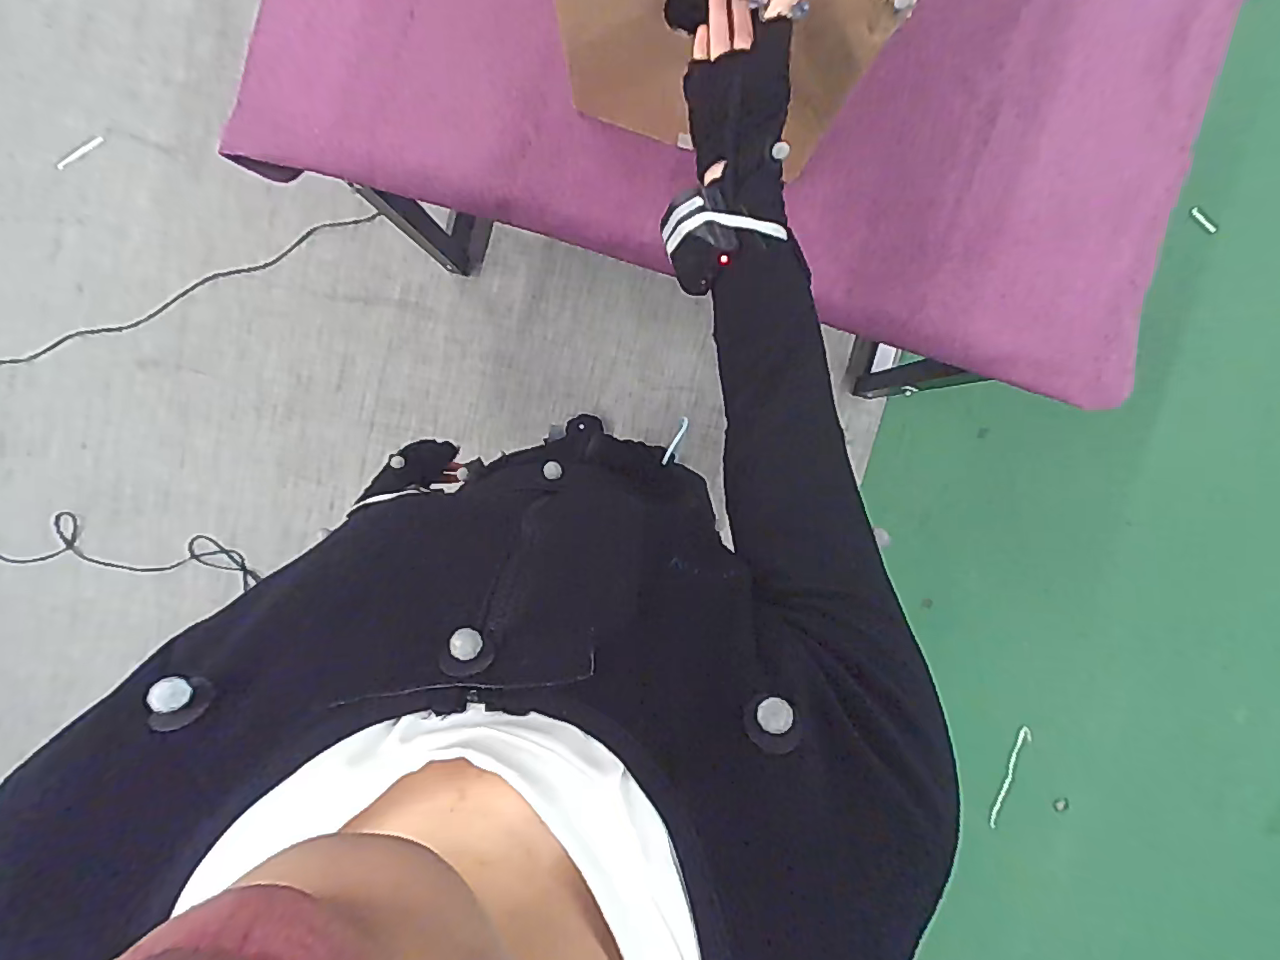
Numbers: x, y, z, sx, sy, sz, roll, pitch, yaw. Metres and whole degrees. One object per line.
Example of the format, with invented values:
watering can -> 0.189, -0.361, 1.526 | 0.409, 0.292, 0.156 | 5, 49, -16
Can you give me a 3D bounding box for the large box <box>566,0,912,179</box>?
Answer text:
large box -> 0.125, -0.624, 0.565 | 0.320, 0.320, 0.408 | 18, 96, -2
